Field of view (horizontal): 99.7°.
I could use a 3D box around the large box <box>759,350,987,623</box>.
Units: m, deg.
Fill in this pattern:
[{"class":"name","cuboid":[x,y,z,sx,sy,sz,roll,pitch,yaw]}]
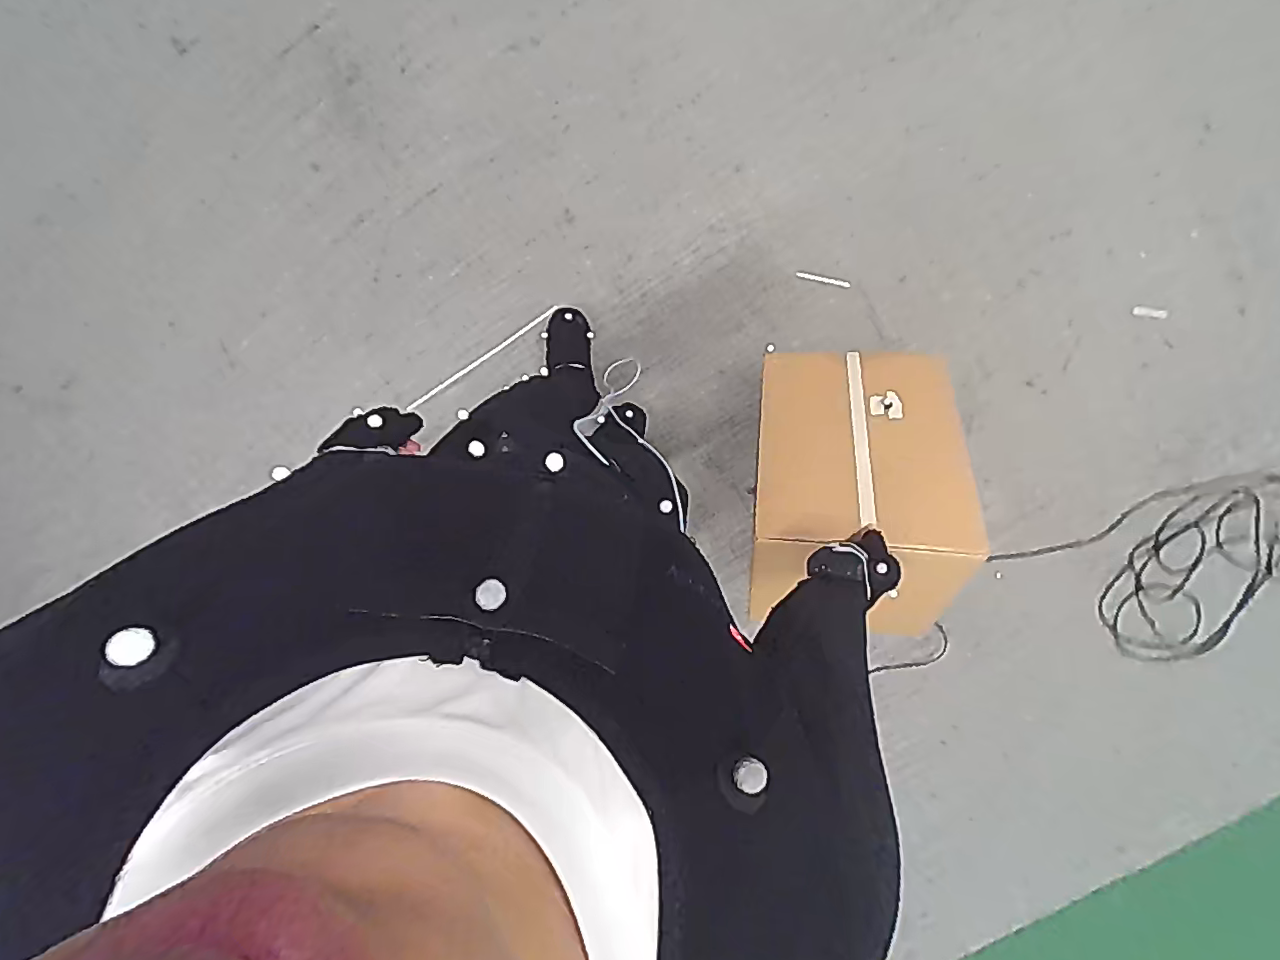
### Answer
[{"class":"large box","cuboid":[0.385,0.014,1.004,0.320,0.408,0.320,2,145,13]}]
